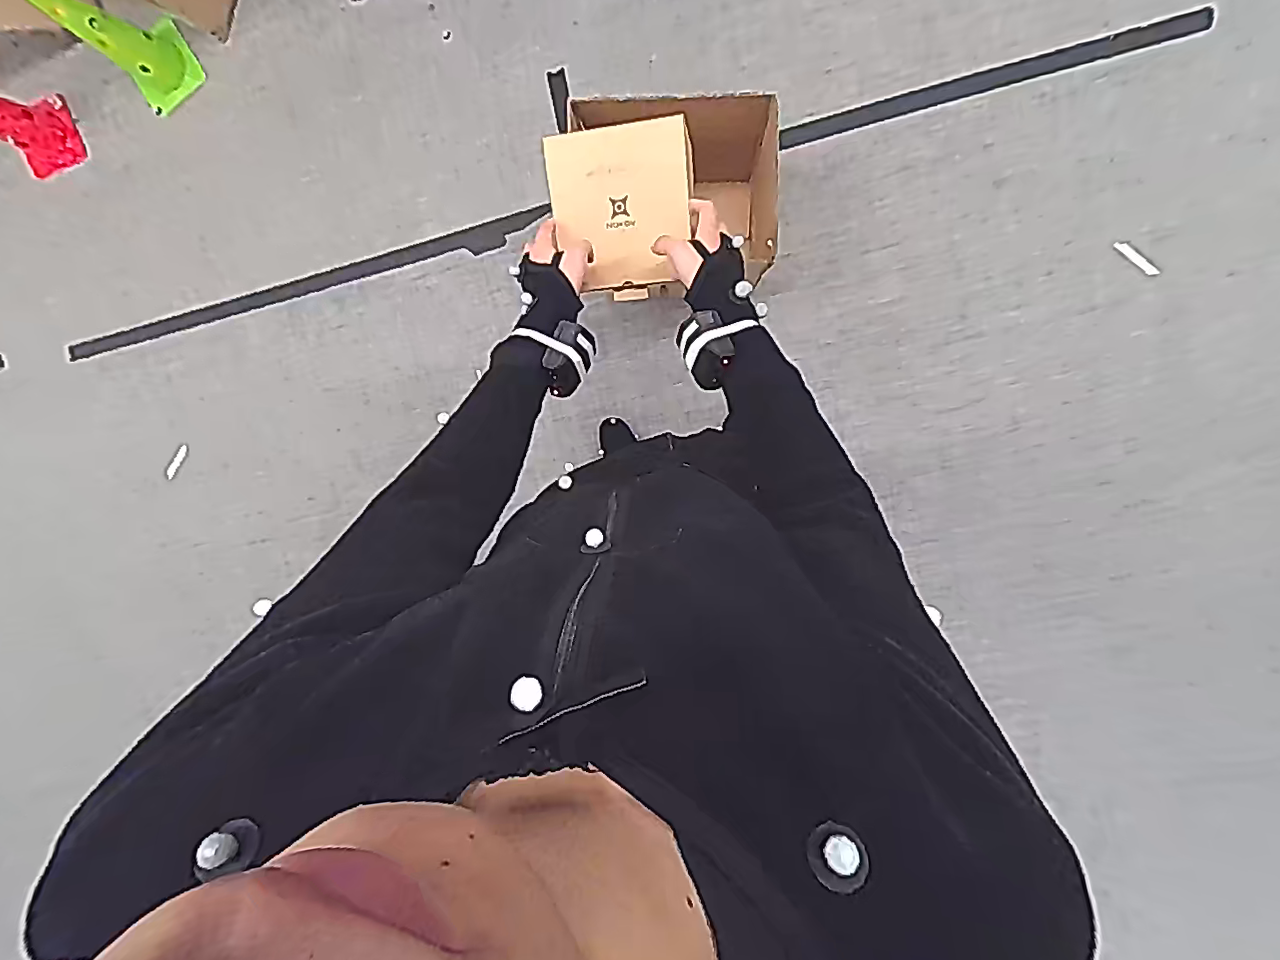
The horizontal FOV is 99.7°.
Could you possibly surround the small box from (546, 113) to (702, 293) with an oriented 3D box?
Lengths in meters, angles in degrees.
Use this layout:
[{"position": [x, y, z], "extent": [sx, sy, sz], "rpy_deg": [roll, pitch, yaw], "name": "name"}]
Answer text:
[{"position": [-0.007, -0.347, 0.704], "extent": [0.168, 0.176, 0.179], "rpy_deg": [-3, 111, 9], "name": "small box"}]
